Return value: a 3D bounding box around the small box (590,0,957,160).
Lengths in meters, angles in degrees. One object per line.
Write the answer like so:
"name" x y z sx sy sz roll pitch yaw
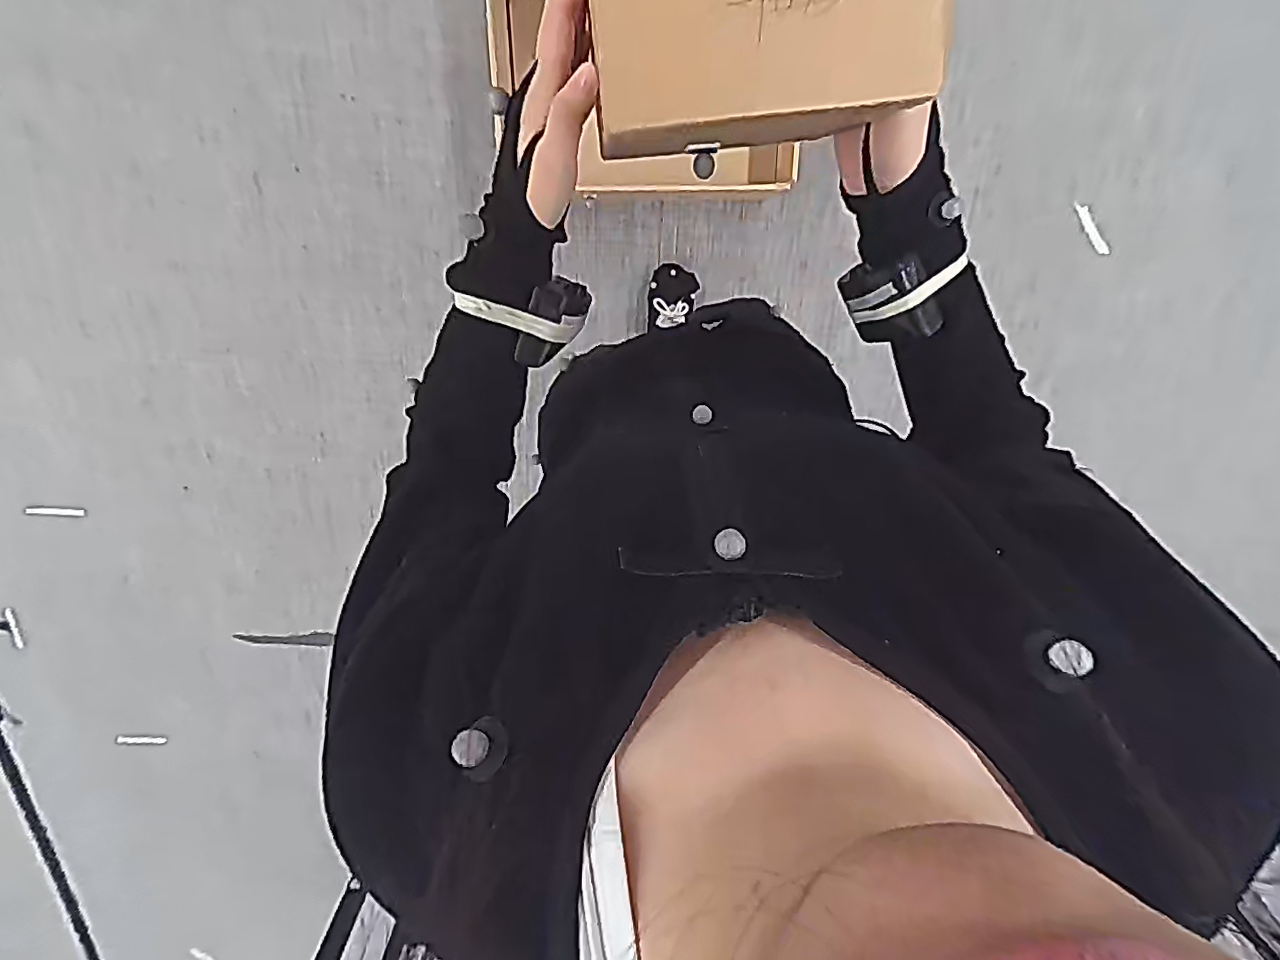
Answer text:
"small box" 0.055 -0.292 0.299 0.168 0.176 0.179 -7 117 -1
